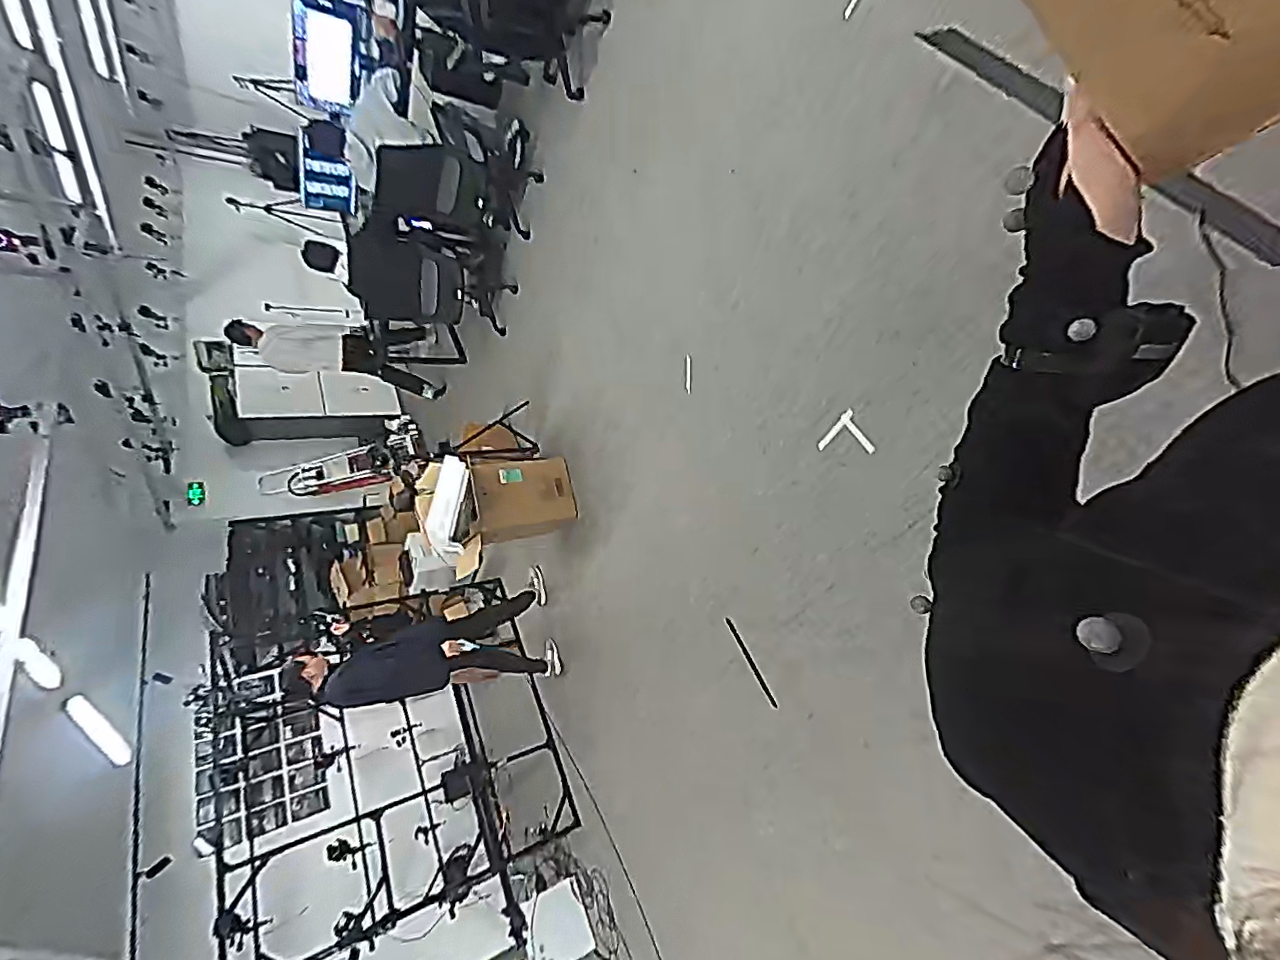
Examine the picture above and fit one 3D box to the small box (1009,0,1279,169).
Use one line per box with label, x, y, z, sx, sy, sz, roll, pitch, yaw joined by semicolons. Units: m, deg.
small box;0.270;-0.284;0.215;0.168;0.176;0.179;42;156;-12
